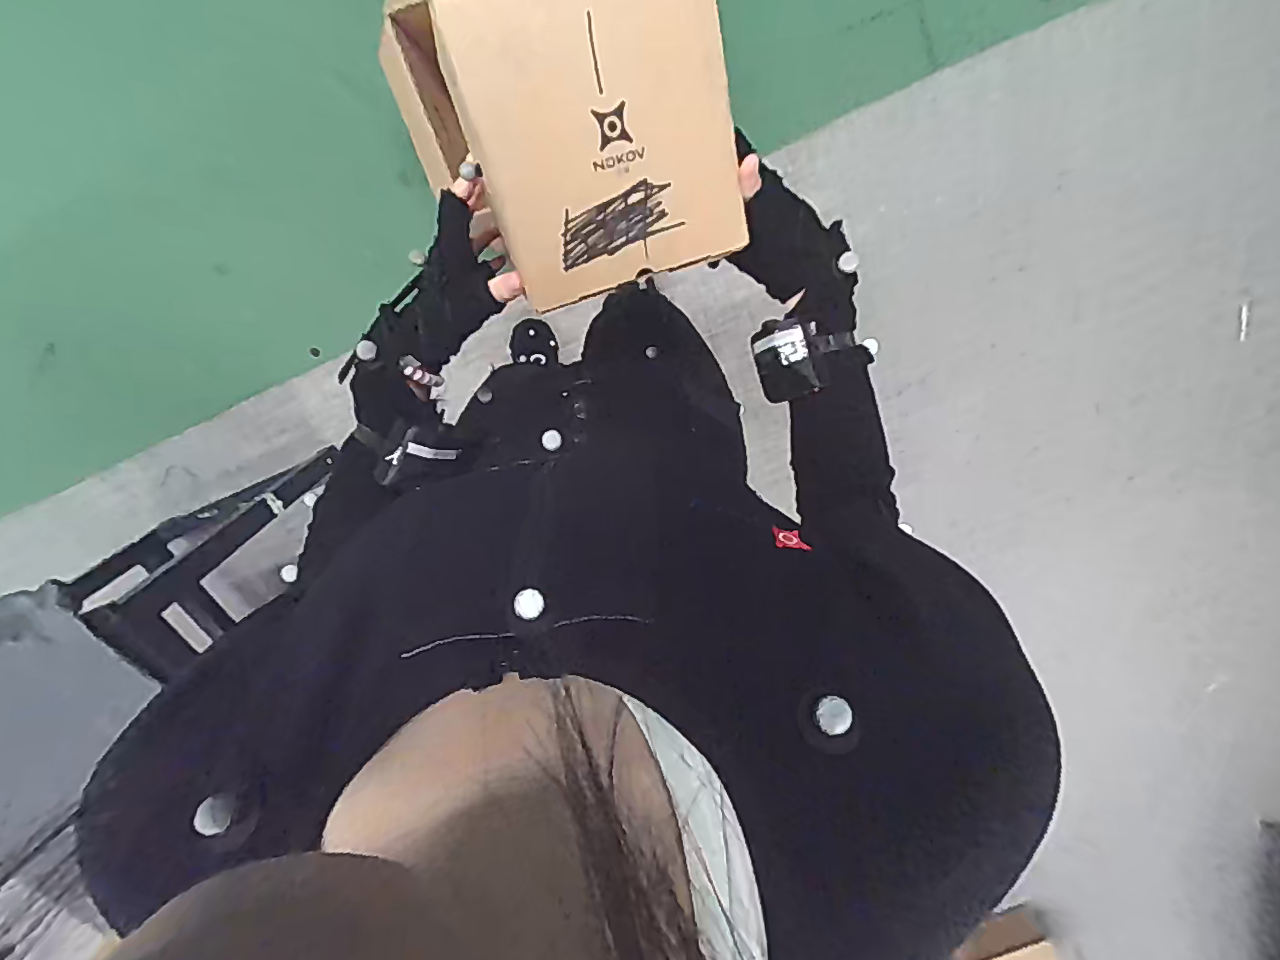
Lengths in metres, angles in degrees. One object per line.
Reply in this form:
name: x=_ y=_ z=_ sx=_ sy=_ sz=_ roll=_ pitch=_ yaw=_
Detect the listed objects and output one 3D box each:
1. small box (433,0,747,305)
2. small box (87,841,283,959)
small box: x=-0.038 y=-0.256 z=0.411 sx=0.168 sy=0.176 sz=0.179 roll=-21 pitch=120 yaw=-7
small box: x=-0.799 y=0.795 z=0.967 sx=0.179 sy=0.176 sz=0.168 roll=-23 pitch=112 yaw=6
